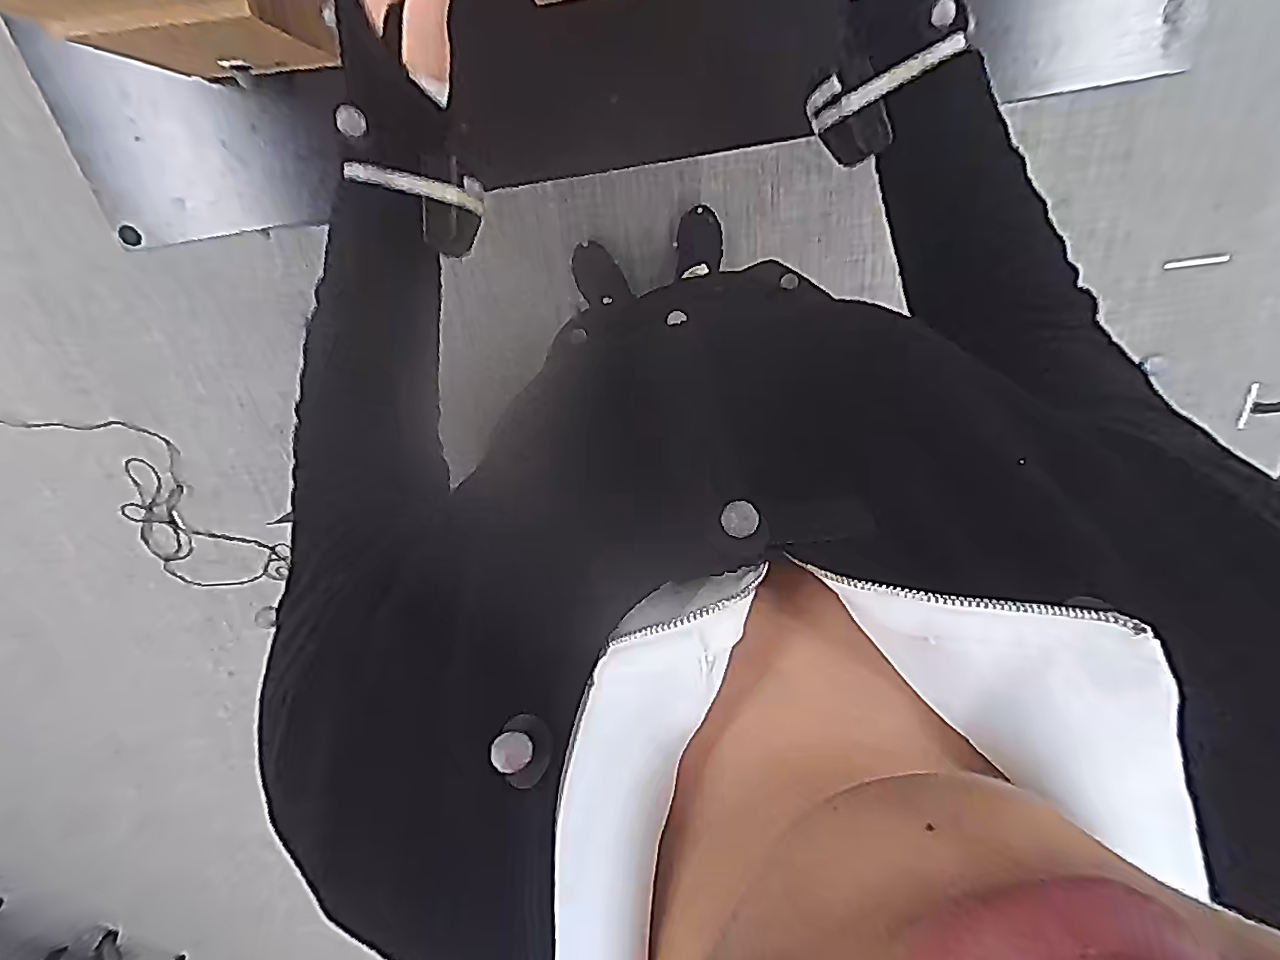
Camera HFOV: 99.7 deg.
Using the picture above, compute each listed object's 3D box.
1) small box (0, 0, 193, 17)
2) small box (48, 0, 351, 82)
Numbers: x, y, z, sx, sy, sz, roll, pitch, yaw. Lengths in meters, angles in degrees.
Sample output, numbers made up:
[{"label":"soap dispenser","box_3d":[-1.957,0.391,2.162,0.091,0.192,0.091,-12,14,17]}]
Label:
[{"label":"small box","box_3d":[-0.388,-0.397,0.305,0.179,0.176,0.168,-5,116,3]},{"label":"small box","box_3d":[-0.384,-0.466,0.456,0.168,0.176,0.179,-5,117,3]}]
